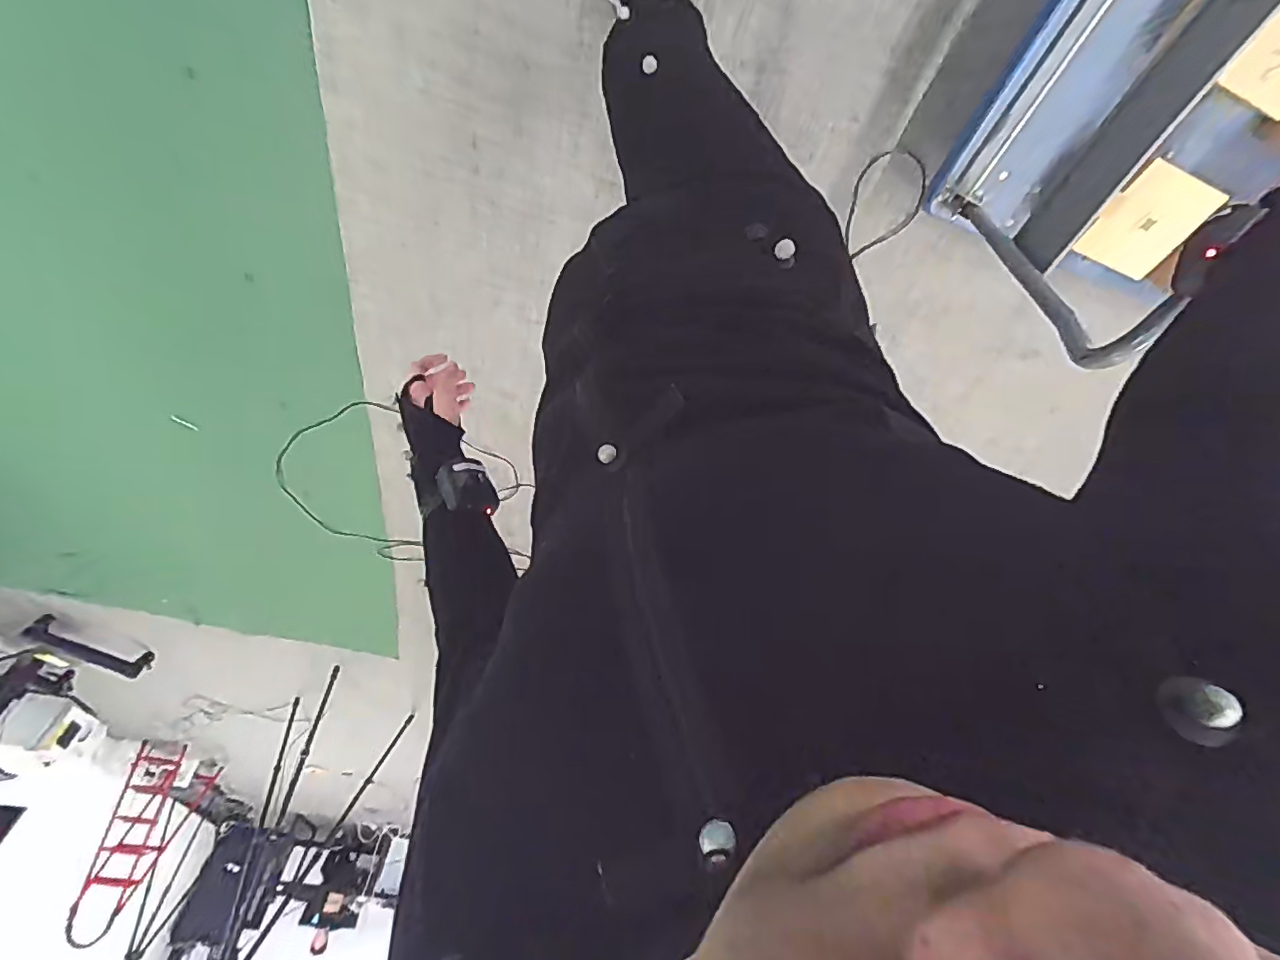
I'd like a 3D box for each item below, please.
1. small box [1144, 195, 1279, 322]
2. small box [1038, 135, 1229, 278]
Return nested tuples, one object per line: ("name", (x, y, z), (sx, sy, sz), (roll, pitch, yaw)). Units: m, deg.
("small box", (1.153, -0.448, 1.072), (0.179, 0.176, 0.168), (15, 134, -8))
("small box", (0.921, -0.522, 1.028), (0.179, 0.176, 0.168), (18, 134, -10))
